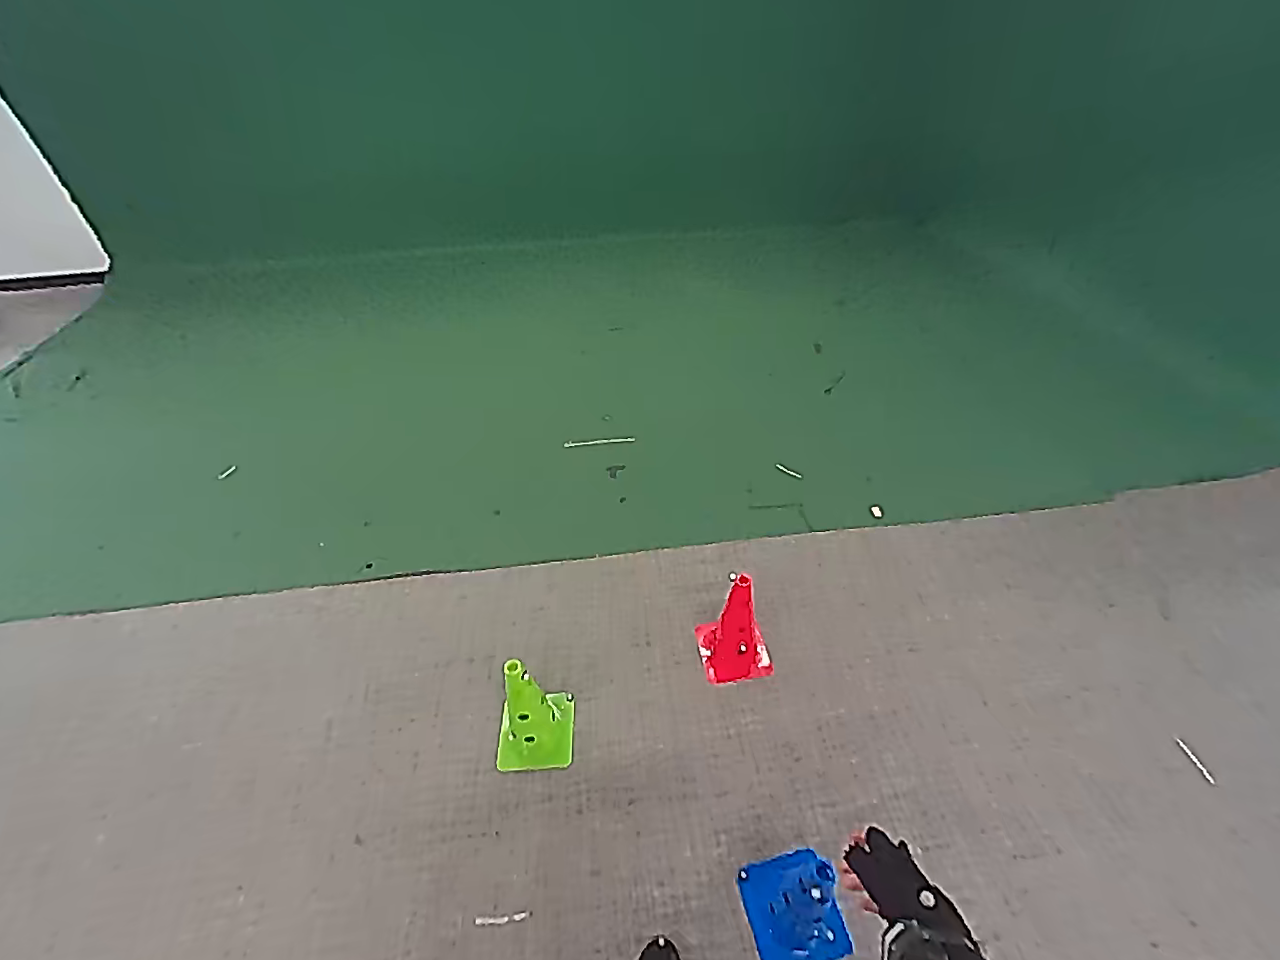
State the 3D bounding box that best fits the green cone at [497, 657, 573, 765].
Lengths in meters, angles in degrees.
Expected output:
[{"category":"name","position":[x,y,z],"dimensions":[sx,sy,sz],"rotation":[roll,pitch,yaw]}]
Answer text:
[{"category":"green cone","position":[-0.291,0.551,1.369],"dimensions":[0.200,0.368,0.202],"rotation":[-4,44,-1]}]
